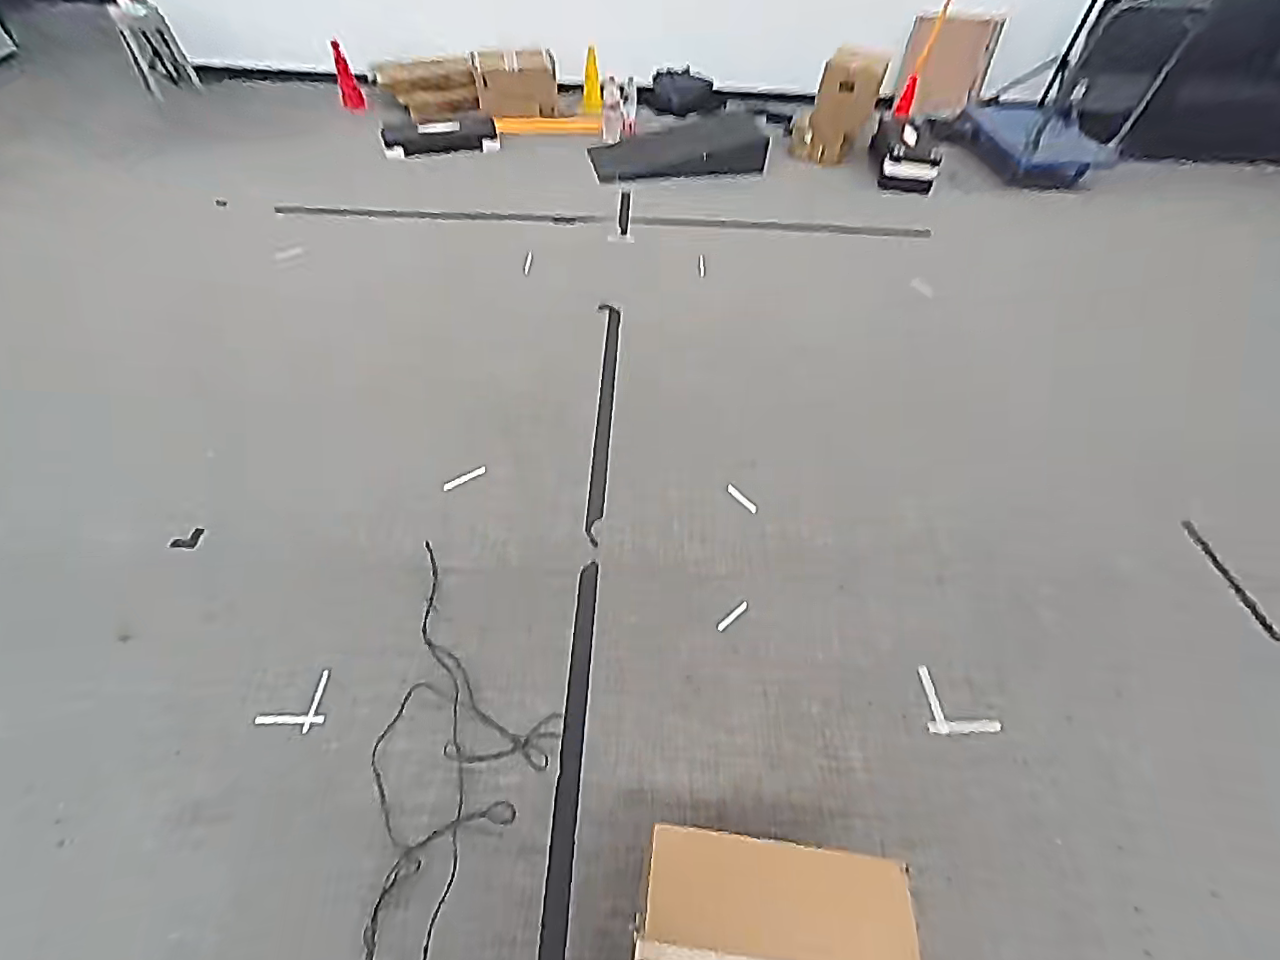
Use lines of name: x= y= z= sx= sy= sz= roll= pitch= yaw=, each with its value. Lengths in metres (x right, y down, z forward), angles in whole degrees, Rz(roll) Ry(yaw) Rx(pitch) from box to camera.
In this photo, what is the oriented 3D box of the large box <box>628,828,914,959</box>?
large box: x=0.187 y=0.798 z=0.882 sx=0.408 sy=0.320 sz=0.320 roll=8 pitch=50 yaw=2
